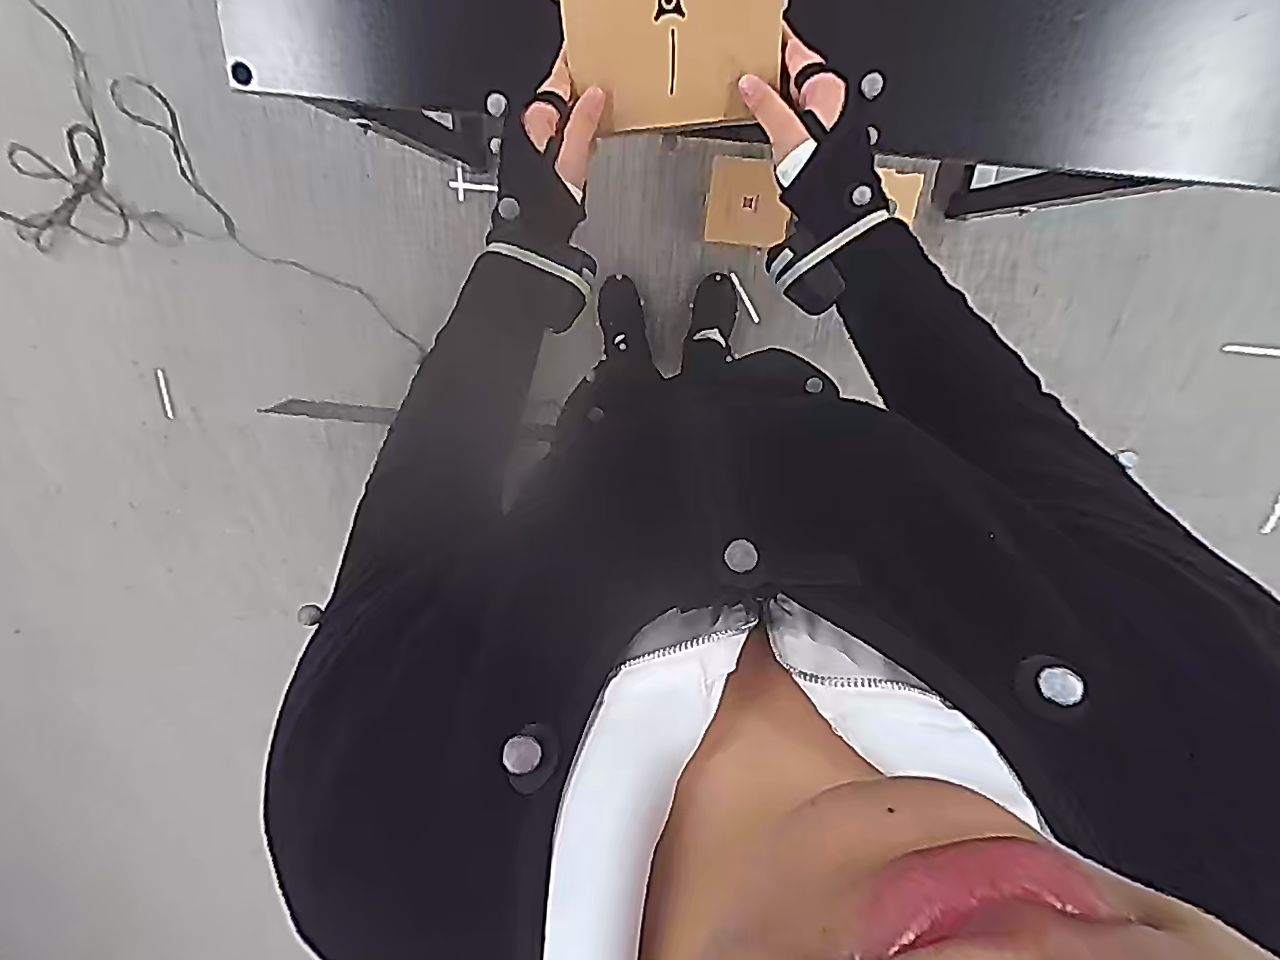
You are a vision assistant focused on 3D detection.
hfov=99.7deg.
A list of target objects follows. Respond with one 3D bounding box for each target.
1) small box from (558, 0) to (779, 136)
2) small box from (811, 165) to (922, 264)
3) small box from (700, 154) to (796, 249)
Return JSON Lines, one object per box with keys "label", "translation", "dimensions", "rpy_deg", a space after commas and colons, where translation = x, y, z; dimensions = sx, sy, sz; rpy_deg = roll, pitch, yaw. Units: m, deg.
{"label": "small box", "translation": [0.022, -0.404, 0.458], "dimensions": [0.168, 0.176, 0.179], "rpy_deg": [-3, 122, 5]}
{"label": "small box", "translation": [0.494, -0.583, 1.206], "dimensions": [0.168, 0.176, 0.179], "rpy_deg": [5, 112, 2]}
{"label": "small box", "translation": [0.233, -0.615, 1.210], "dimensions": [0.179, 0.176, 0.168], "rpy_deg": [6, 111, 2]}
